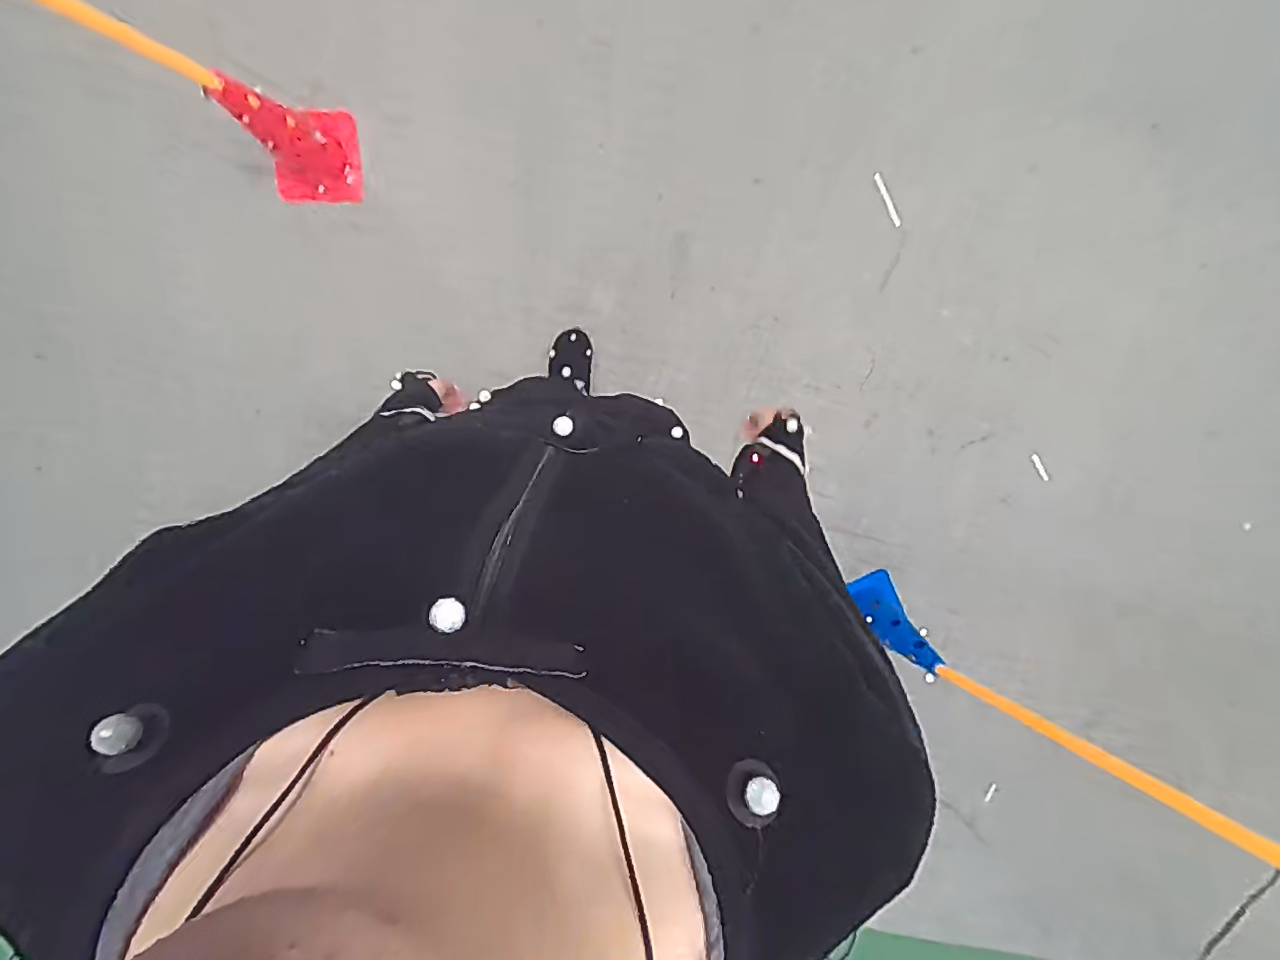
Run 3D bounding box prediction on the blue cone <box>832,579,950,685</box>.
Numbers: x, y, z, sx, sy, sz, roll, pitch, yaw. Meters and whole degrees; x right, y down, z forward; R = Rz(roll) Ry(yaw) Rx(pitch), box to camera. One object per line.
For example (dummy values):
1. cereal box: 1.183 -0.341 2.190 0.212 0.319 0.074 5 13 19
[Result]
1. blue cone: 0.693 0.428 1.450 0.193 0.380 0.192 -29 101 0
